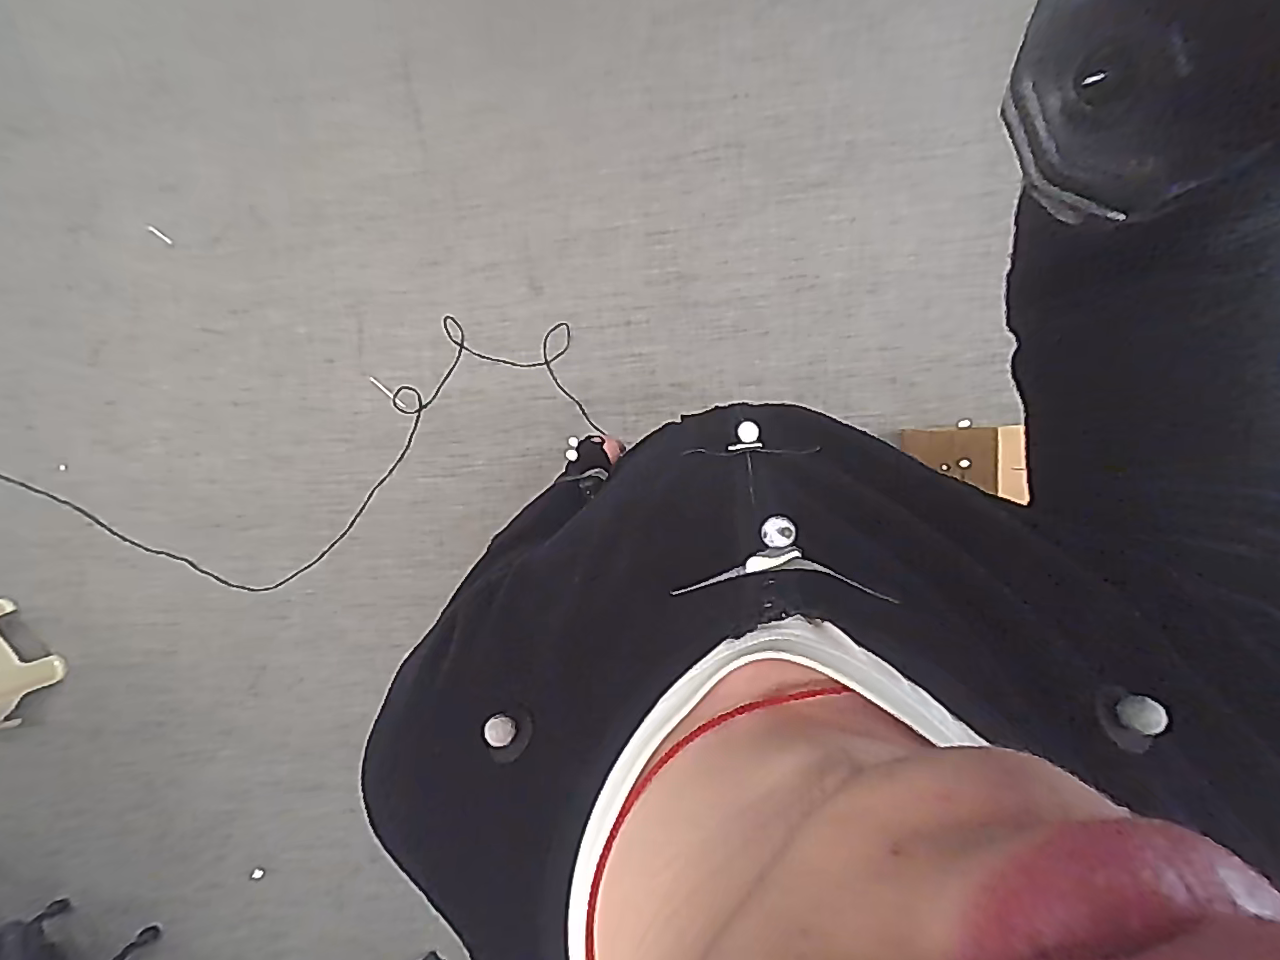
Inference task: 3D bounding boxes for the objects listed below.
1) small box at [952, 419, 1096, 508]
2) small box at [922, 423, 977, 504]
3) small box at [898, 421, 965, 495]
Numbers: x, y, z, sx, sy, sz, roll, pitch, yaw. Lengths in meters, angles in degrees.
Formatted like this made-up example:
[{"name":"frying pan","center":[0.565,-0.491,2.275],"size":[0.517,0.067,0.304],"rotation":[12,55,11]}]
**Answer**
[{"name":"small box","center":[0.753,-0.038,1.075],"size":[0.179,0.176,0.168],"rotation":[-2,95,8]},{"name":"small box","center":[0.764,-0.044,1.240],"size":[0.168,0.176,0.179],"rotation":[-3,96,7]},{"name":"small box","center":[0.785,-0.061,1.401],"size":[0.168,0.176,0.179],"rotation":[-2,96,6]}]
